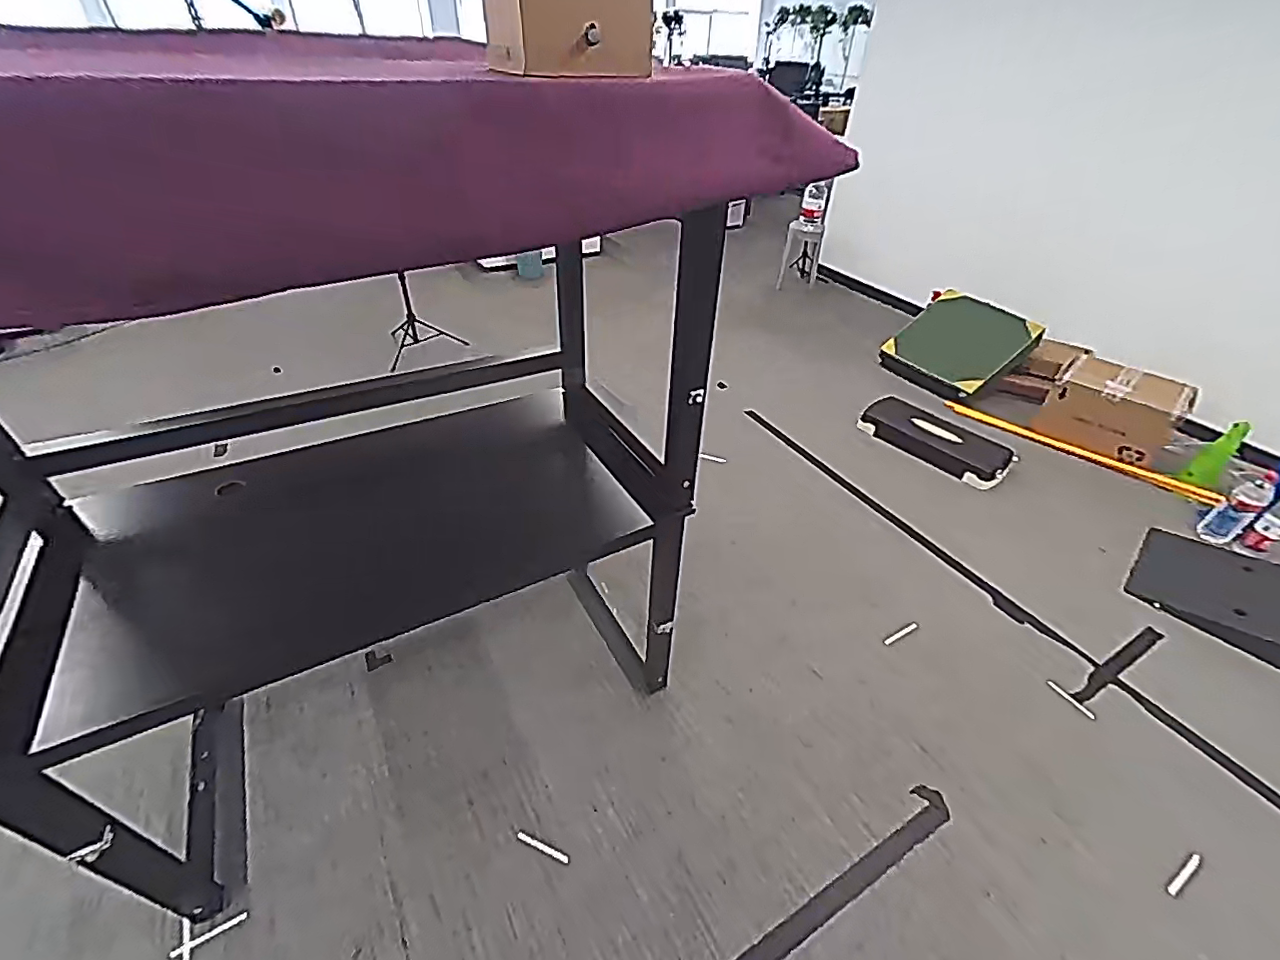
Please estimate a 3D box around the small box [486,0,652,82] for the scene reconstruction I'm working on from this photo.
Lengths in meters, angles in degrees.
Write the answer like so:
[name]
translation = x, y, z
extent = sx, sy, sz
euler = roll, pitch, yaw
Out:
[small box]
translation = -0.093, -0.614, 0.682
extent = 0.179, 0.176, 0.168
euler = -17, 42, -22
